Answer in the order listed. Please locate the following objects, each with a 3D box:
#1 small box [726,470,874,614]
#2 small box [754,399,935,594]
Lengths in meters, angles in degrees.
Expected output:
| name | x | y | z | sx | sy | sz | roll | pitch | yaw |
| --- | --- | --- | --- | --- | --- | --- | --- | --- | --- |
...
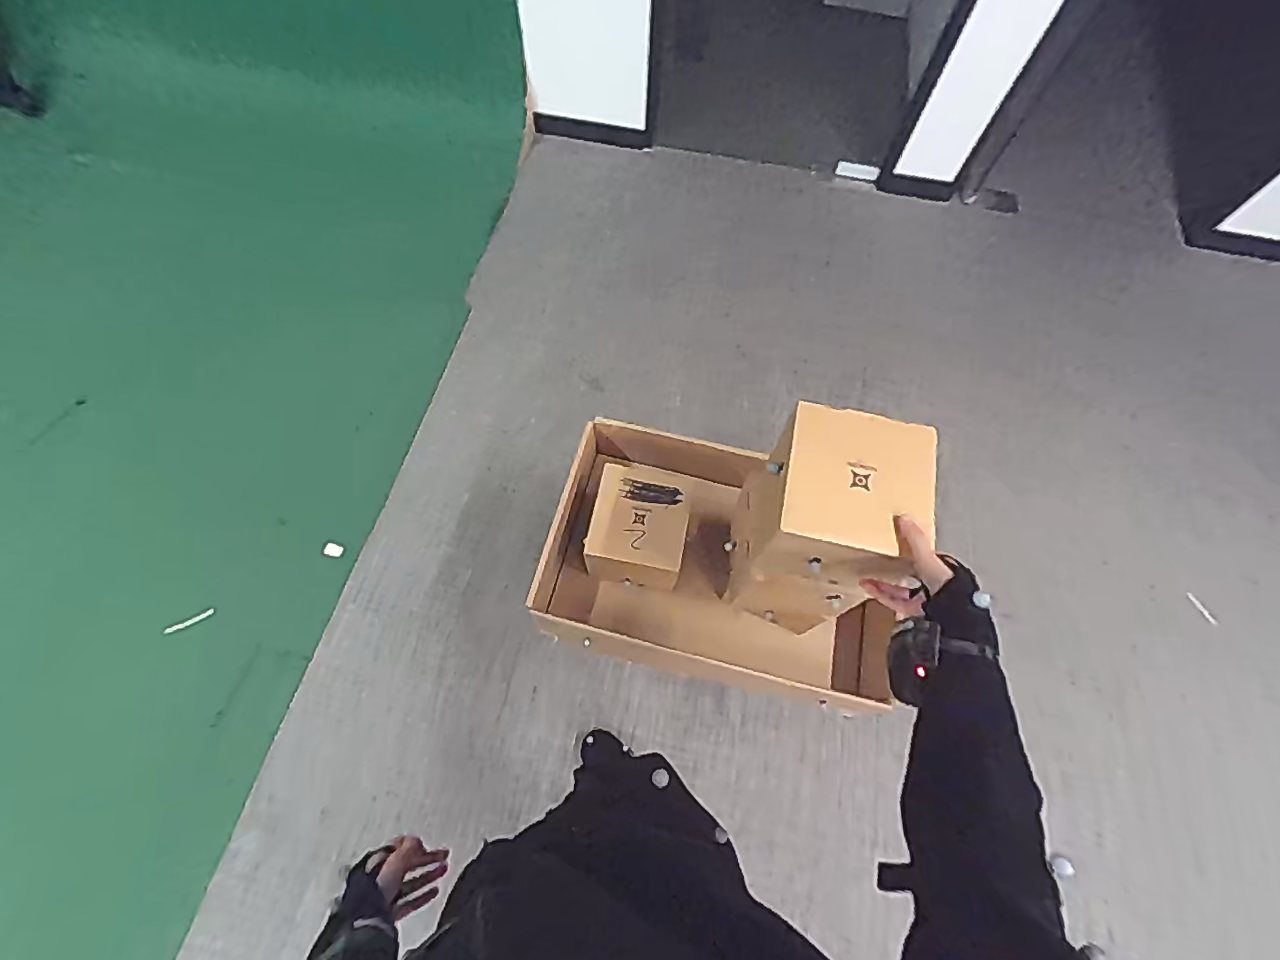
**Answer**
| name | x | y | z | sx | sy | sz | roll | pitch | yaw |
| --- | --- | --- | --- | --- | --- | --- | --- | --- | --- |
| small box | 0.235 | 0.102 | 0.824 | 0.179 | 0.176 | 0.168 | 5 | 64 | 2 |
| small box | 0.246 | 0.029 | 0.680 | 0.168 | 0.176 | 0.179 | 13 | 65 | 6 |
